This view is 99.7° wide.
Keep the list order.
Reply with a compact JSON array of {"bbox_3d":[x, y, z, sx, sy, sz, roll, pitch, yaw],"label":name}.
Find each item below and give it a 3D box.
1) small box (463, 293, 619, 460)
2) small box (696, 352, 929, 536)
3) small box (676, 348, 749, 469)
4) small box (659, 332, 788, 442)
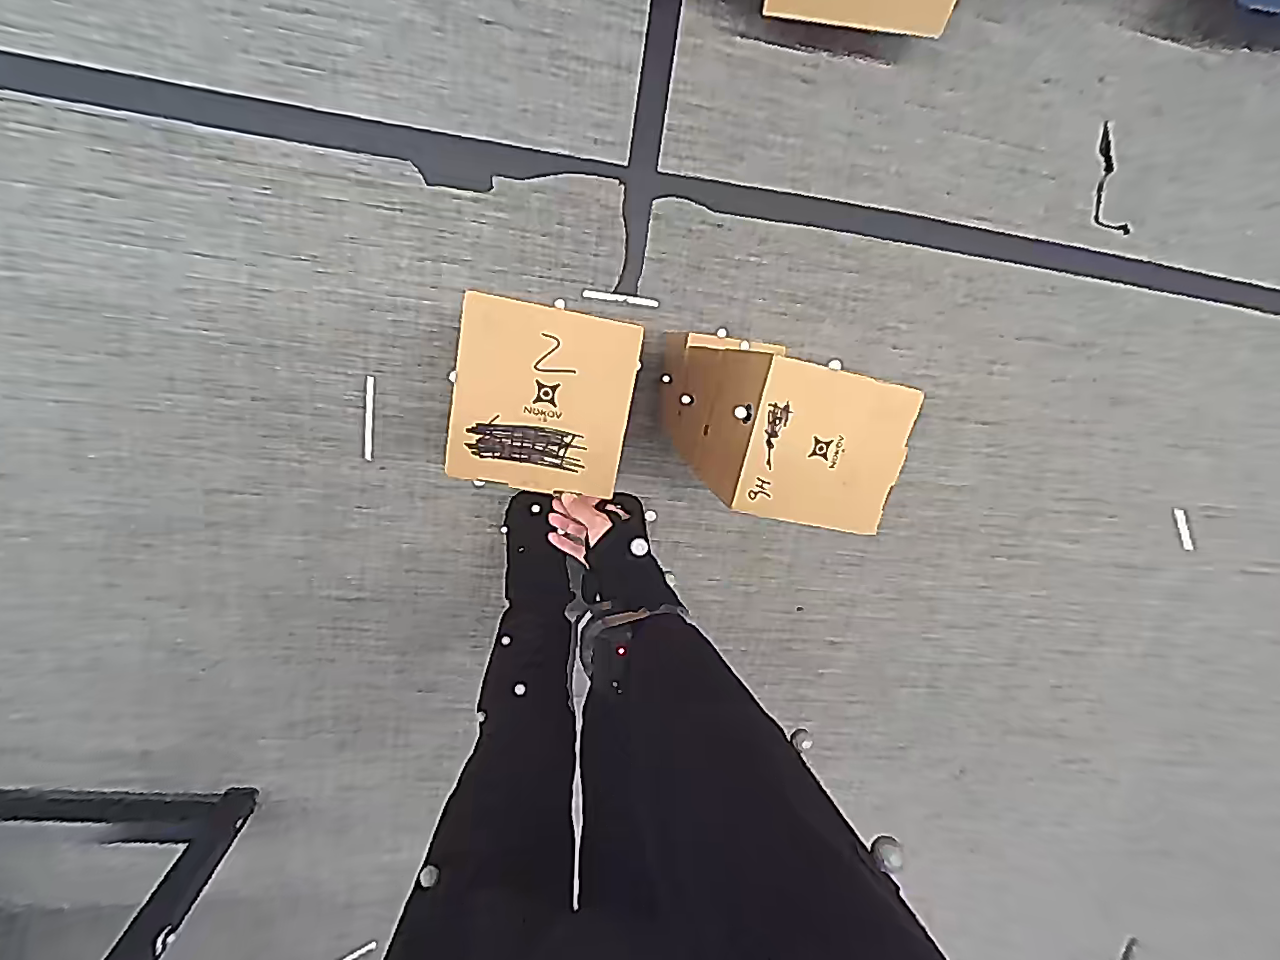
[{"bbox_3d":[-0.134,-0.141,0.735,0.168,0.176,0.179,10,102,-13],"label":"small box"},{"bbox_3d":[0.186,-0.051,0.634,0.179,0.176,0.168,11,104,-13],"label":"small box"},{"bbox_3d":[0.161,-0.097,0.790,0.179,0.176,0.168,7,105,-12],"label":"small box"},{"bbox_3d":[0.134,-0.157,0.942,0.168,0.176,0.179,5,104,-11],"label":"small box"}]
